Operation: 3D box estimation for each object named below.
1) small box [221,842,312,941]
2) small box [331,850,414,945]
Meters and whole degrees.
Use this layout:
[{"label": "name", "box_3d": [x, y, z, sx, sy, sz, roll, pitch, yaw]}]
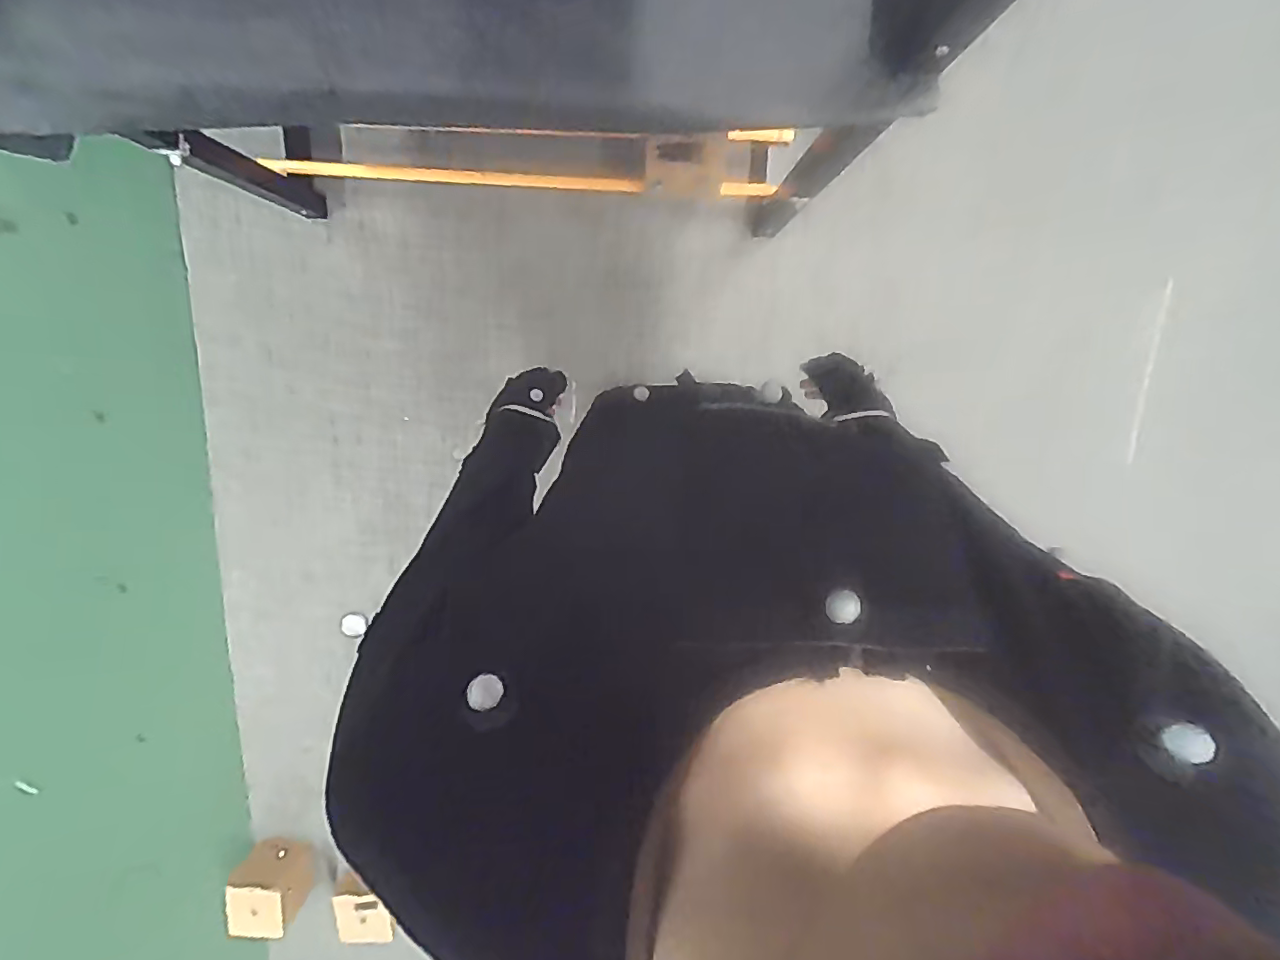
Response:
[{"label": "small box", "box_3d": [-1.141, 1.262, 1.664, 0.168, 0.176, 0.179, 4, 101, -1]}, {"label": "small box", "box_3d": [-0.817, 1.279, 1.666, 0.168, 0.176, 0.179, -1, 102, 1]}]
